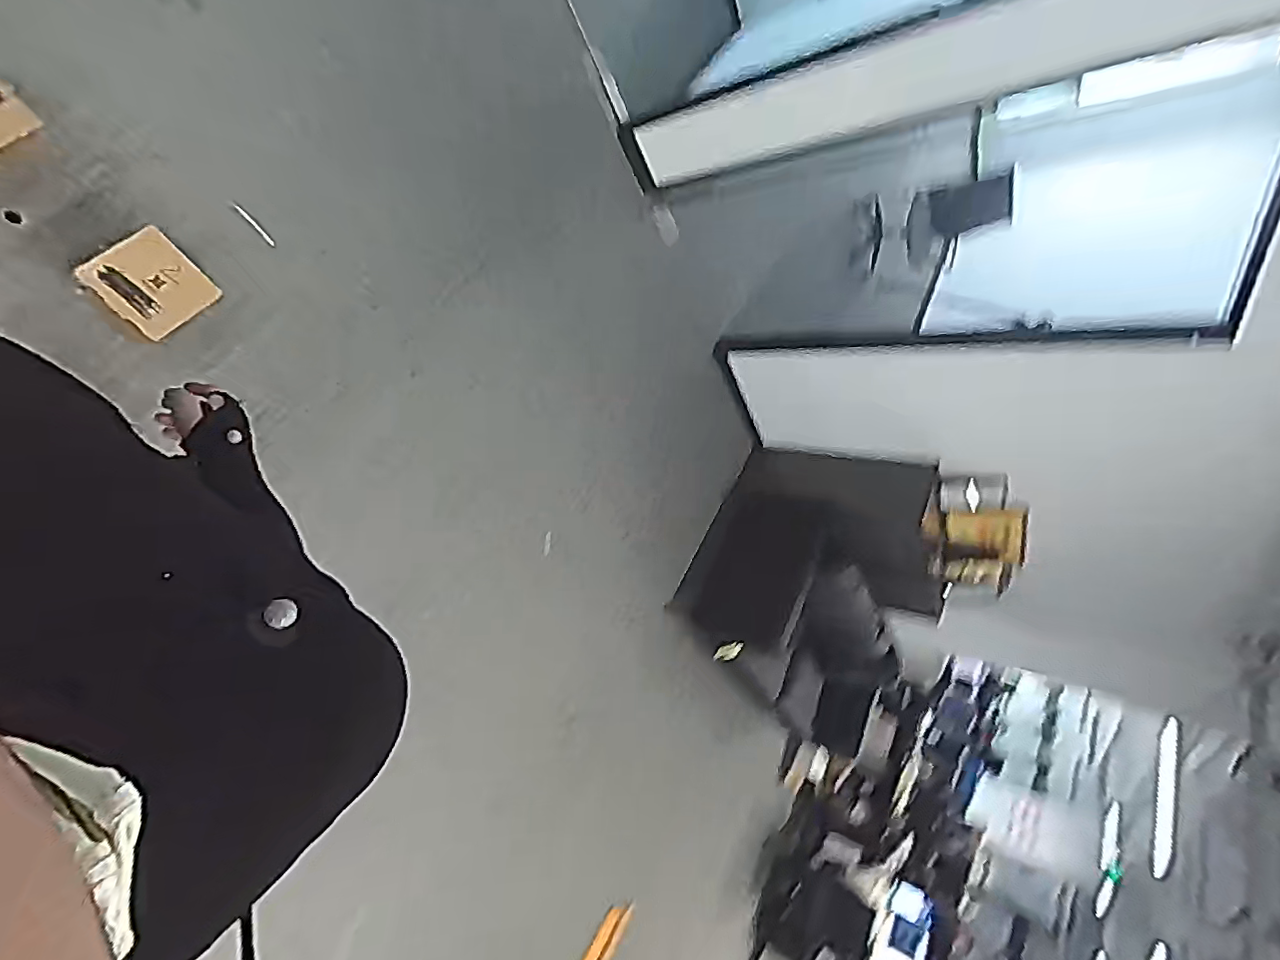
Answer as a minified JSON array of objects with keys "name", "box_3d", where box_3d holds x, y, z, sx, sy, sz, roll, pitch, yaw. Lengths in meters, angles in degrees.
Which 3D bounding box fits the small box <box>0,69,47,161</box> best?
[{"name":"small box","box_3d":[-1.191,-0.648,0.927,0.179,0.176,0.168,-56,136,-26]}]
